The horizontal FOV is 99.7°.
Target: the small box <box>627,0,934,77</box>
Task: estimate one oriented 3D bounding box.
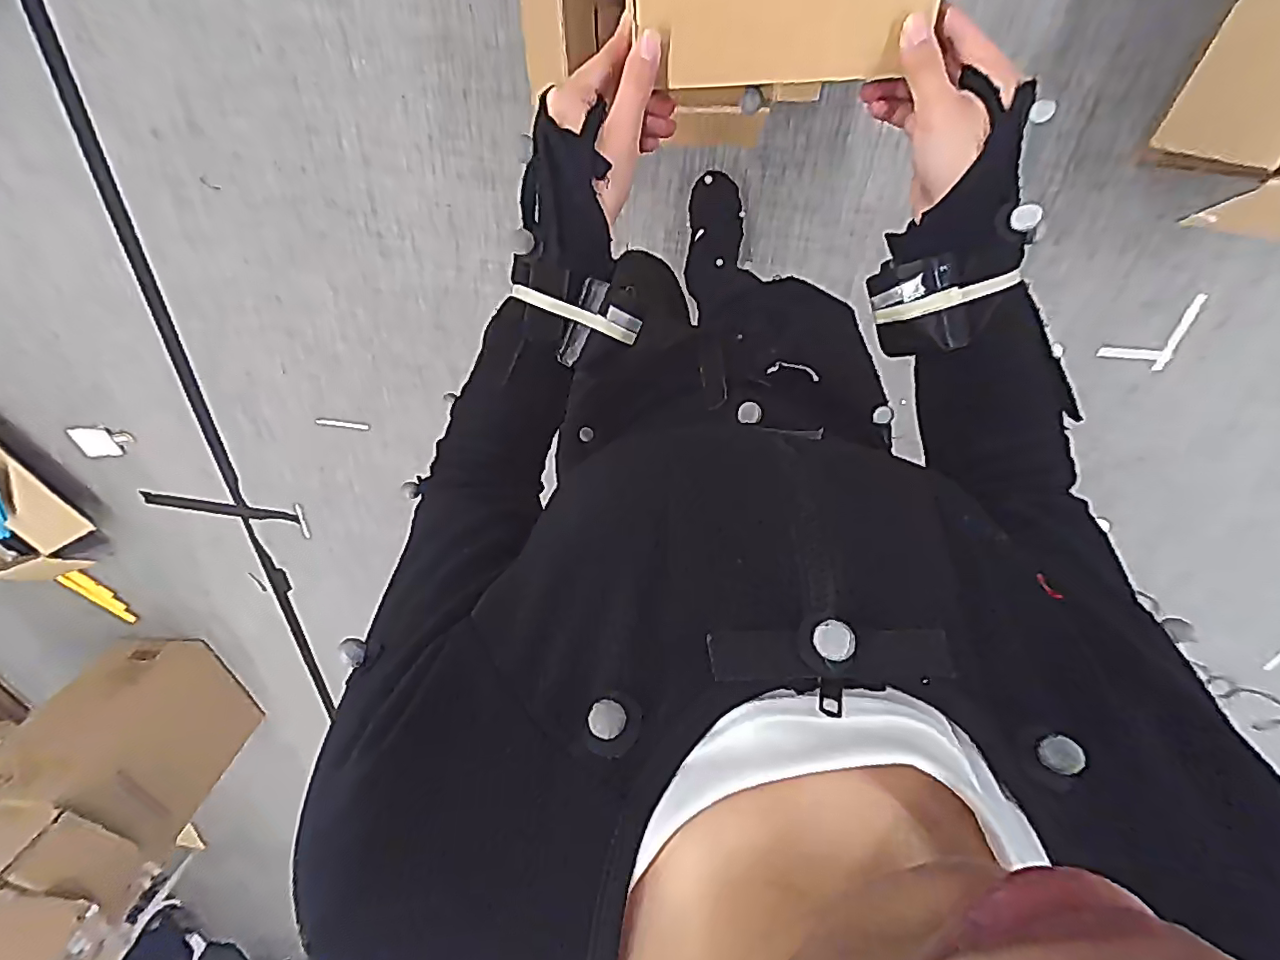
[{"bbox_3d":[0.078,-0.361,0.336,0.179,0.176,0.168,-2,129,1],"label":"small box"}]
